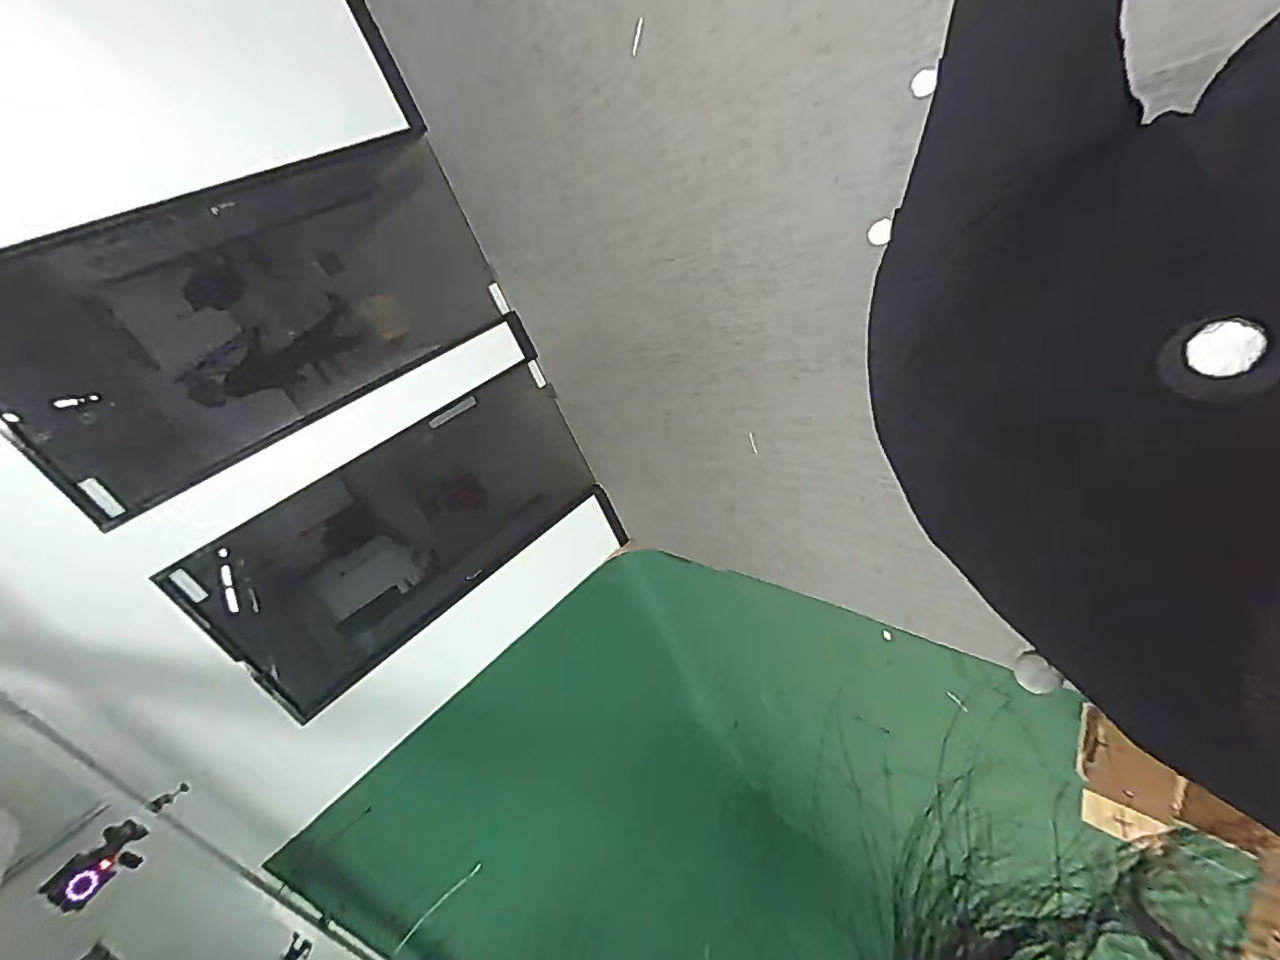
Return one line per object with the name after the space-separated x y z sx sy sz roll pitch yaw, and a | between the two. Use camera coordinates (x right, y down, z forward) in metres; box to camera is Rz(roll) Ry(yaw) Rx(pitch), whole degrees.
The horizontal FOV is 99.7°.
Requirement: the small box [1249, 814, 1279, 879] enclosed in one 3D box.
1.618 0.958 1.300 0.179 0.176 0.168 17 136 50 | small box

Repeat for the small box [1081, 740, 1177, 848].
1.398 0.889 1.547 0.179 0.176 0.168 13 132 49 | small box

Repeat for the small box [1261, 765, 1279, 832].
1.733 0.875 1.383 0.168 0.176 0.179 15 135 50 | small box

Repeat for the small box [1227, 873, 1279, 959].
1.495 1.046 1.231 0.179 0.176 0.168 15 136 49 | small box
